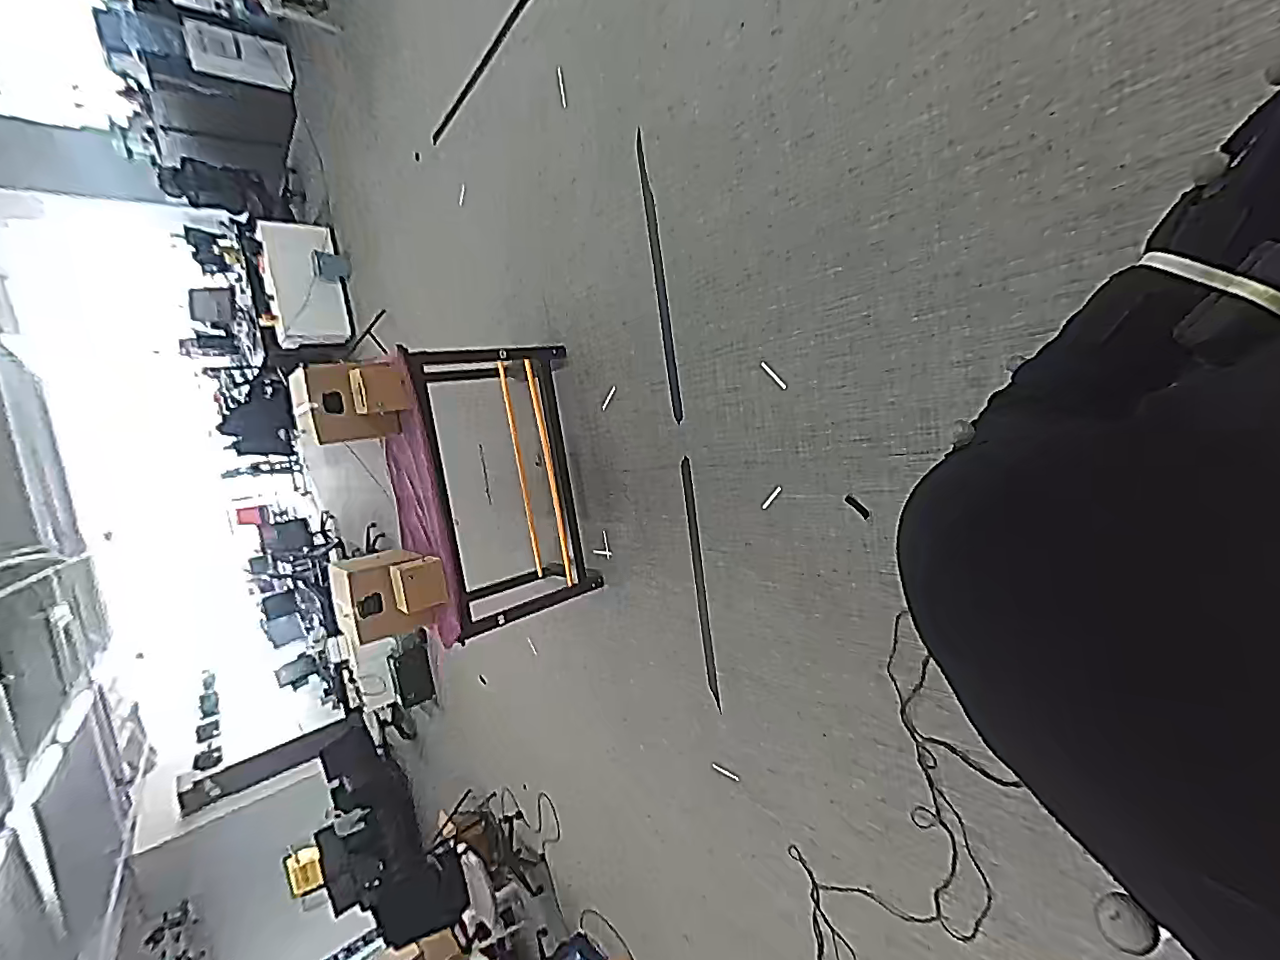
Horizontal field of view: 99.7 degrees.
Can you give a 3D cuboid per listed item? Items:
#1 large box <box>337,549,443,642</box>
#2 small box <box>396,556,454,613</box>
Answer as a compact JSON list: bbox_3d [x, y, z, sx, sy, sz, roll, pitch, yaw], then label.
[{"bbox_3d":[-1.129,0.499,2.430,0.408,0.320,0.320,-4,97,49],"label":"large box"},{"bbox_3d":[-0.875,0.420,2.205,0.168,0.176,0.179,-5,96,53],"label":"small box"}]
